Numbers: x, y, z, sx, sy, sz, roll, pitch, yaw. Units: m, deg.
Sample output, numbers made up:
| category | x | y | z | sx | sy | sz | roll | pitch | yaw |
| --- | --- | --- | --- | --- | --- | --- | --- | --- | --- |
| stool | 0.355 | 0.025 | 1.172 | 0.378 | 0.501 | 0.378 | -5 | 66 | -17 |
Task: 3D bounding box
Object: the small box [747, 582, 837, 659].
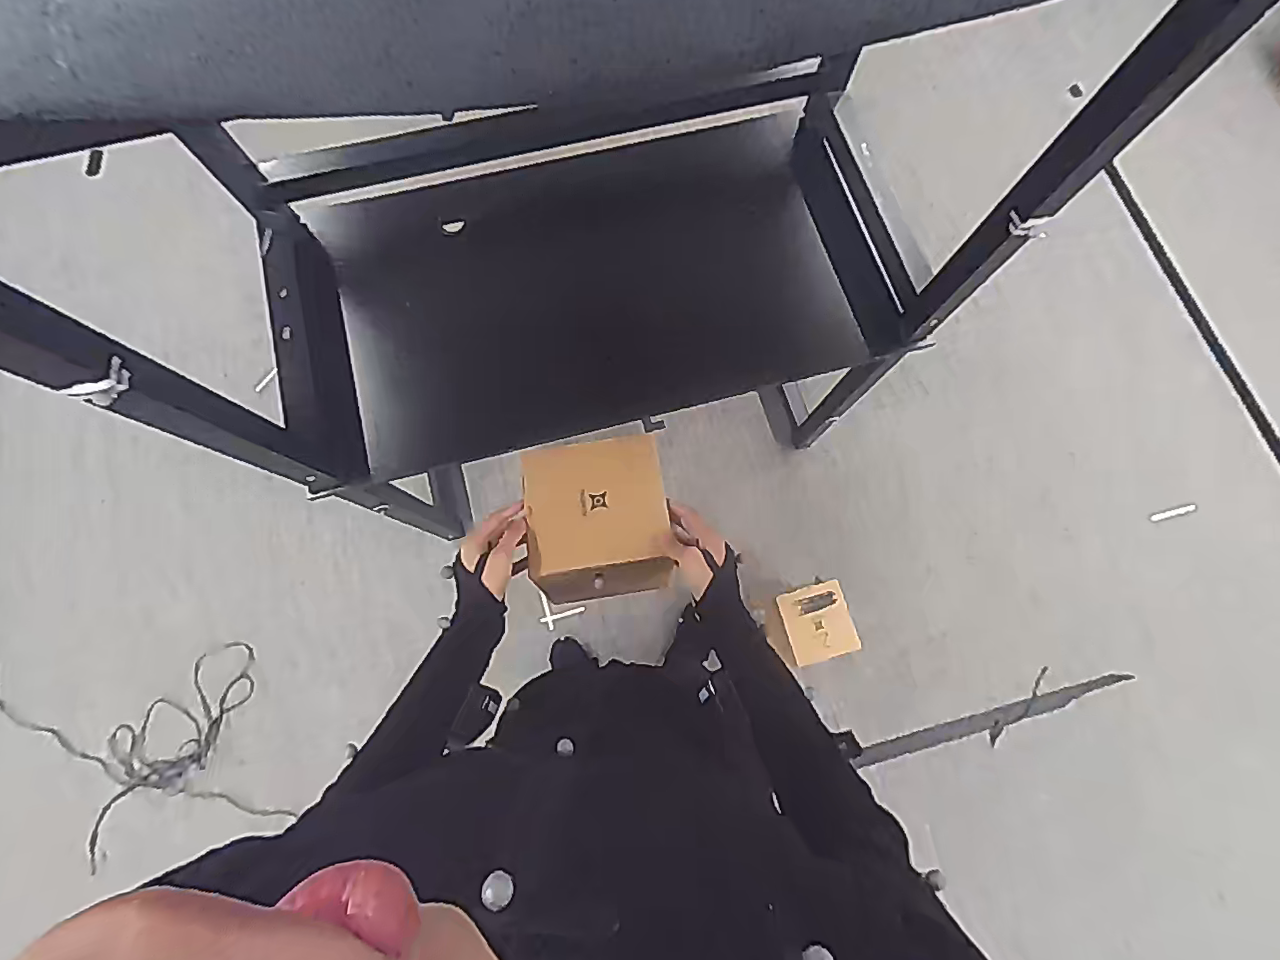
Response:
| category | x | y | z | sx | sy | sz | roll | pitch | yaw |
| --- | --- | --- | --- | --- | --- | --- | --- | --- | --- |
| small box | 0.425 | 0.396 | 1.541 | 0.179 | 0.176 | 0.168 | -17 | 77 | -4 |
